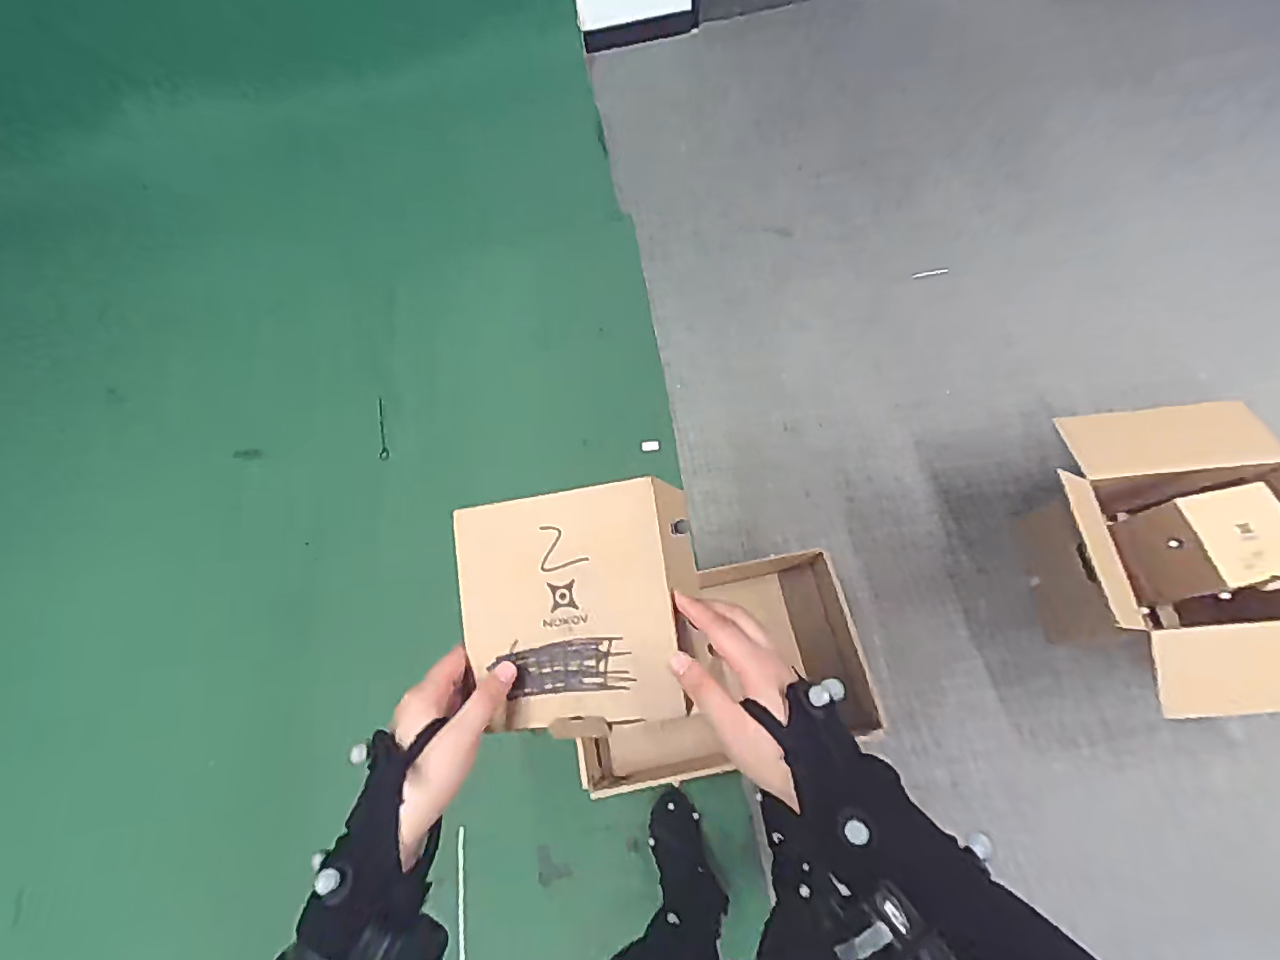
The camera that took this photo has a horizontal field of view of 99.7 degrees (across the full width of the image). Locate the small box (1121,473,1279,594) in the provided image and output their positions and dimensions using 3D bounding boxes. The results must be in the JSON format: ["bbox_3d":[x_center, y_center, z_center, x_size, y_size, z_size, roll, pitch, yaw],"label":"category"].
[{"bbox_3d":[1.119,0.111,1.065,0.168,0.176,0.179,-13,67,3],"label":"small box"}]

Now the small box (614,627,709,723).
[{"bbox_3d":[0.051,0.433,1.189,0.179,0.176,0.168,-11,66,1],"label":"small box"}]

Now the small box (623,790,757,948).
[{"bbox_3d":[0.107,0.764,1.078,0.176,0.168,0.179,49,53,-8],"label":"small box"}]
